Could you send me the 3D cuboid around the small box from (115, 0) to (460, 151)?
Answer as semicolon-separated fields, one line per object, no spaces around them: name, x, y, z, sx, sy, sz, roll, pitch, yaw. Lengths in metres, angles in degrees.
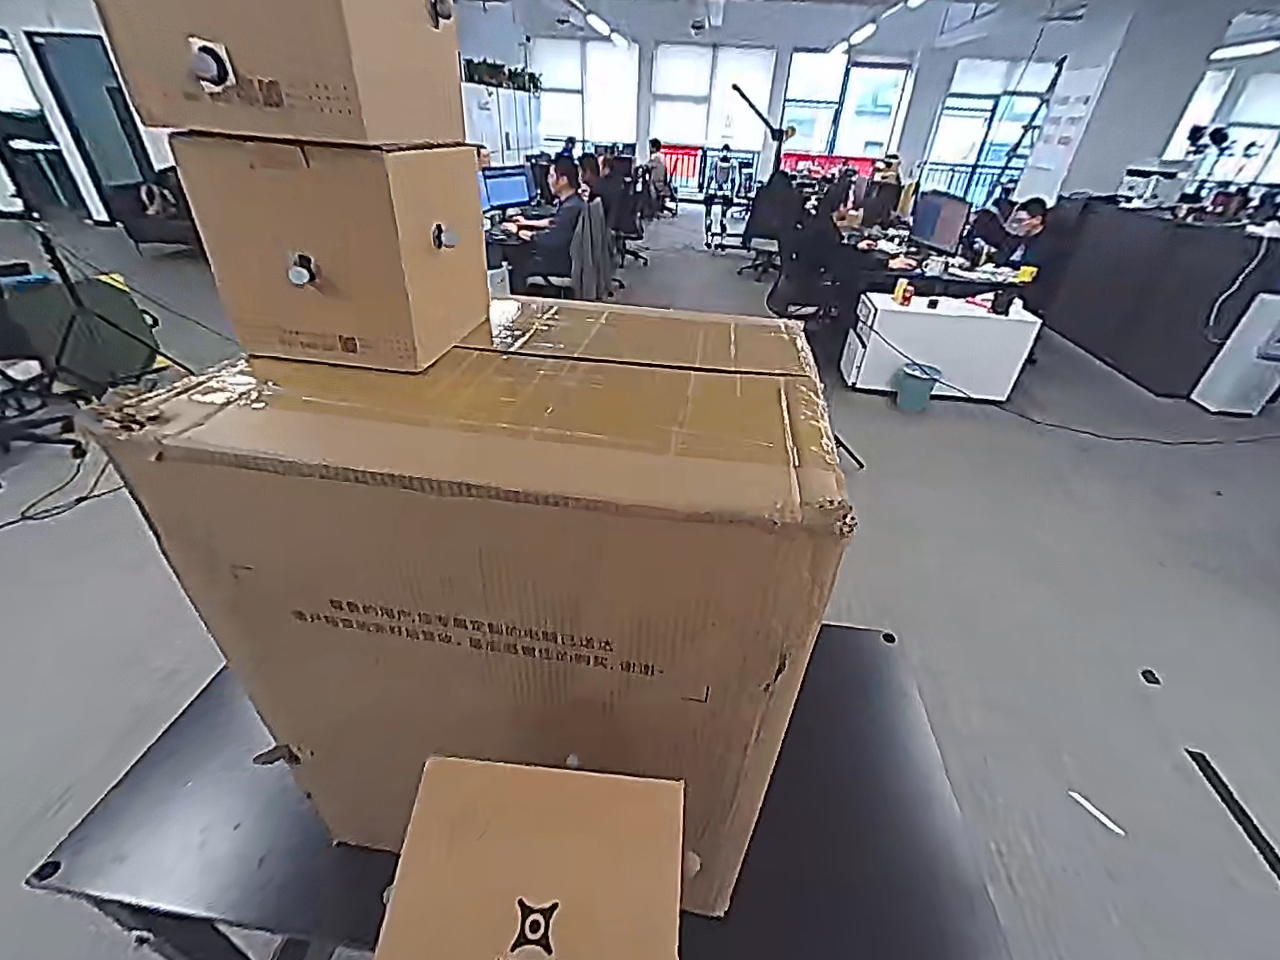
small box;-0.242;-0.344;0.391;0.168;0.176;0.179;5;33;3

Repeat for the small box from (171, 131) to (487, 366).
small box;-0.248;-0.214;0.491;0.168;0.176;0.179;7;34;3
